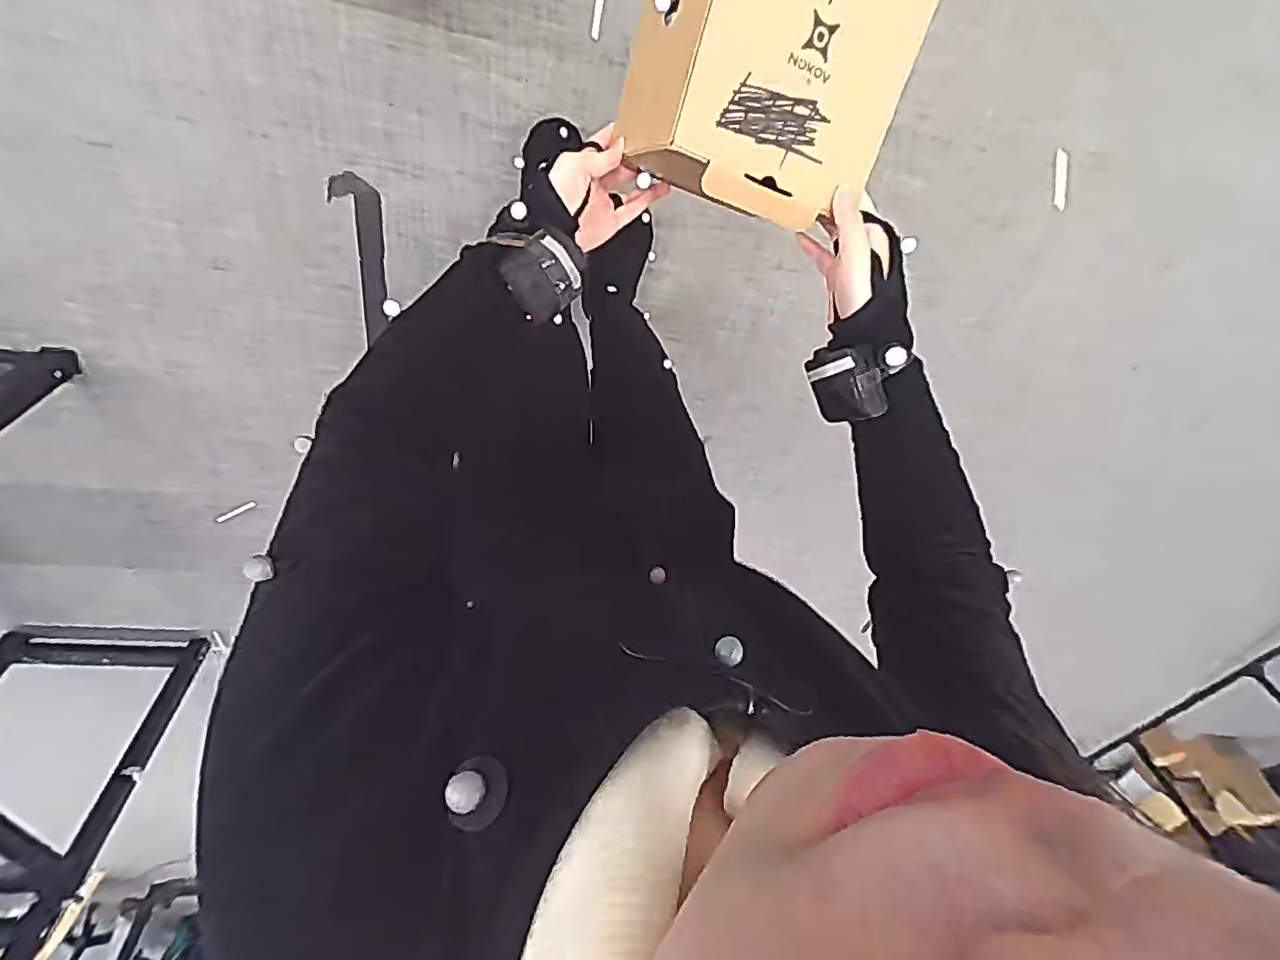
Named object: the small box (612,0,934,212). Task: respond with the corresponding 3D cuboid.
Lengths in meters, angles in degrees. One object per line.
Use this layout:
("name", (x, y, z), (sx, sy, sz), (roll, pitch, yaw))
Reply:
("small box", (0.088, -0.332, 0.429), (0.168, 0.176, 0.179), (8, 112, -24))
